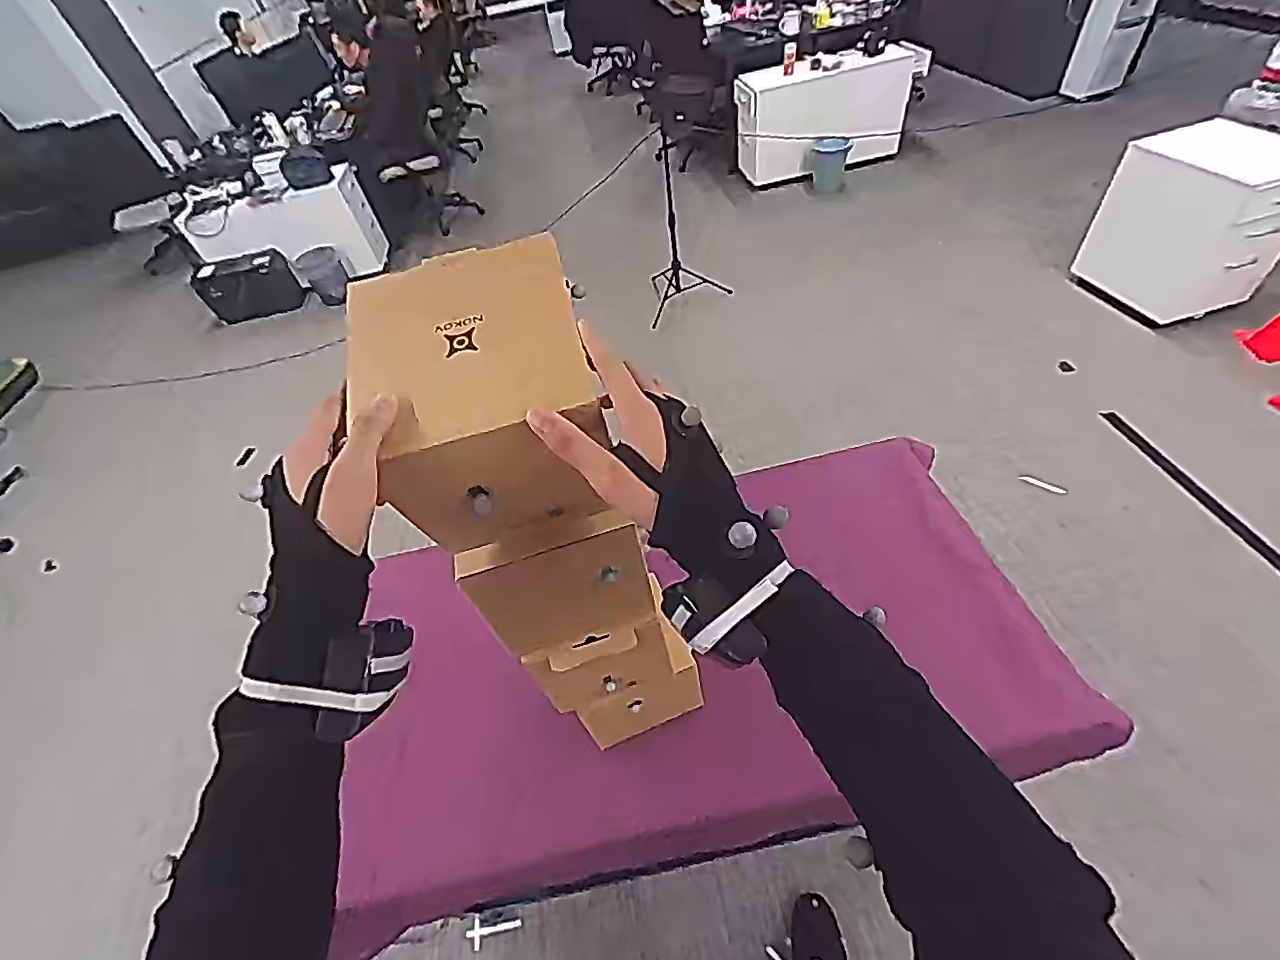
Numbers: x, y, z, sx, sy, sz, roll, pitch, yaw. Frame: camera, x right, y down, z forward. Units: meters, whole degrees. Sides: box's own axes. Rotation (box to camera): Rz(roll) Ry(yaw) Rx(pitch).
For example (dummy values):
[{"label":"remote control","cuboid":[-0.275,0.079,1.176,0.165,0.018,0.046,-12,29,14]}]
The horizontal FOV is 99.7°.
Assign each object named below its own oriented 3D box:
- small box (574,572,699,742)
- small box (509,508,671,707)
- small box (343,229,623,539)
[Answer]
[{"label":"small box","cuboid":[-0.019,0.279,0.842,0.179,0.176,0.168,-20,49,-8]},{"label":"small box","cuboid":[-0.065,0.172,0.724,0.168,0.176,0.179,-17,48,-3]},{"label":"small box","cuboid":[-0.118,-0.065,0.449,0.168,0.176,0.179,-16,61,-2]}]
